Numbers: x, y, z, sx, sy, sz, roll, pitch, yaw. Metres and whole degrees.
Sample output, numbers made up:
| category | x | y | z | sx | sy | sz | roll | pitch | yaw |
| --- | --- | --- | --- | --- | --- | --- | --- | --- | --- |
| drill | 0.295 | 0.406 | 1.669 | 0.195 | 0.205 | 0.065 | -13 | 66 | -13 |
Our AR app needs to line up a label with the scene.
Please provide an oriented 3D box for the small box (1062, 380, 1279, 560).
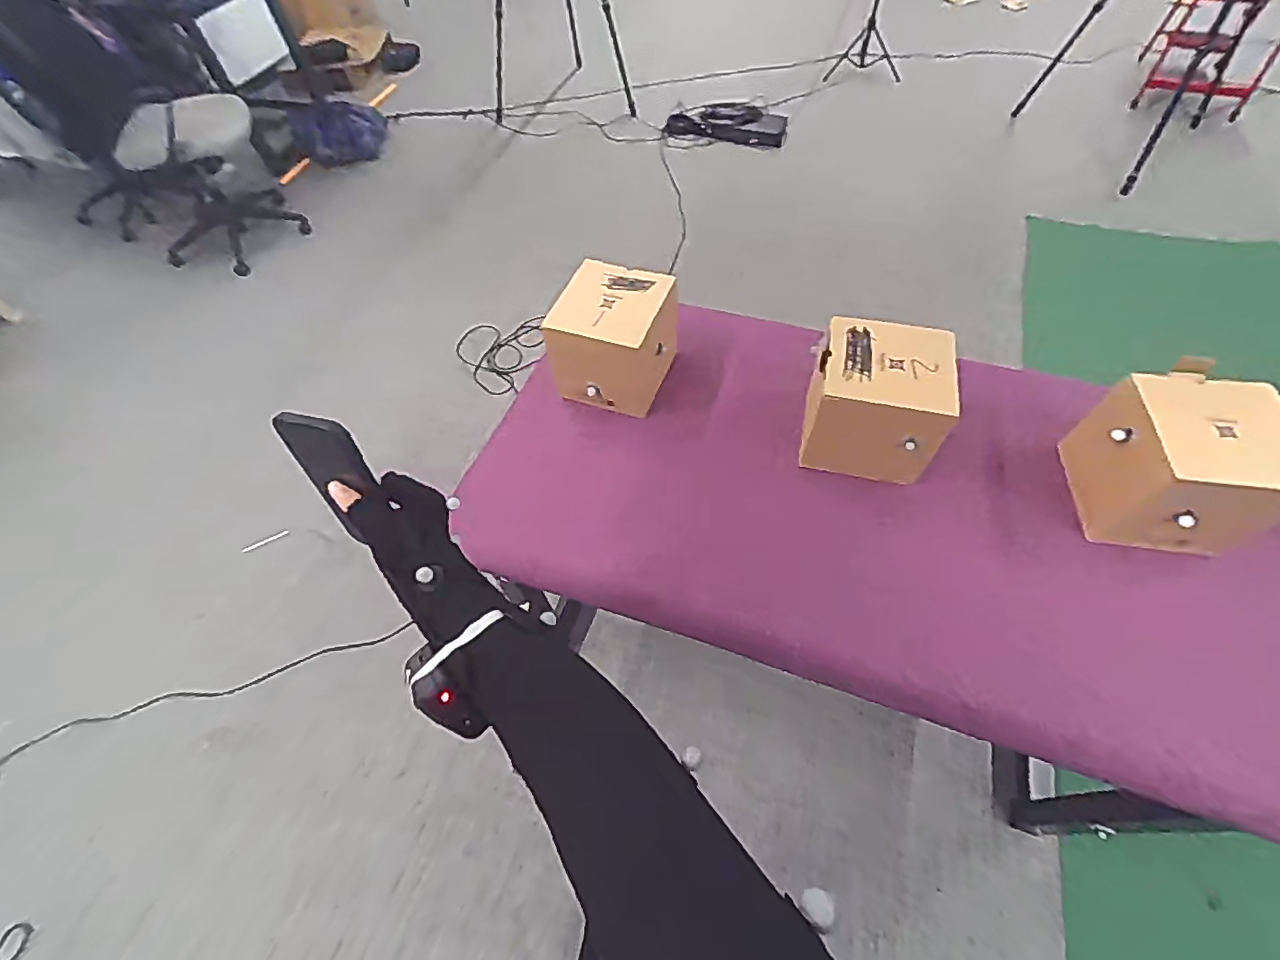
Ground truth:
| category | x | y | z | sx | sy | sz | roll | pitch | yaw |
| --- | --- | --- | --- | --- | --- | --- | --- | --- | --- |
| small box | 0.718 | -0.009 | 0.727 | 0.168 | 0.176 | 0.179 | 7 | 56 | 9 |

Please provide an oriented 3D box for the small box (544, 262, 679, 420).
| category | x | y | z | sx | sy | sz | roll | pitch | yaw |
| --- | --- | --- | --- | --- | --- | --- | --- | --- | --- |
| small box | -0.040 | -0.234 | 0.920 | 0.168 | 0.176 | 0.179 | 17 | 60 | 14 |
